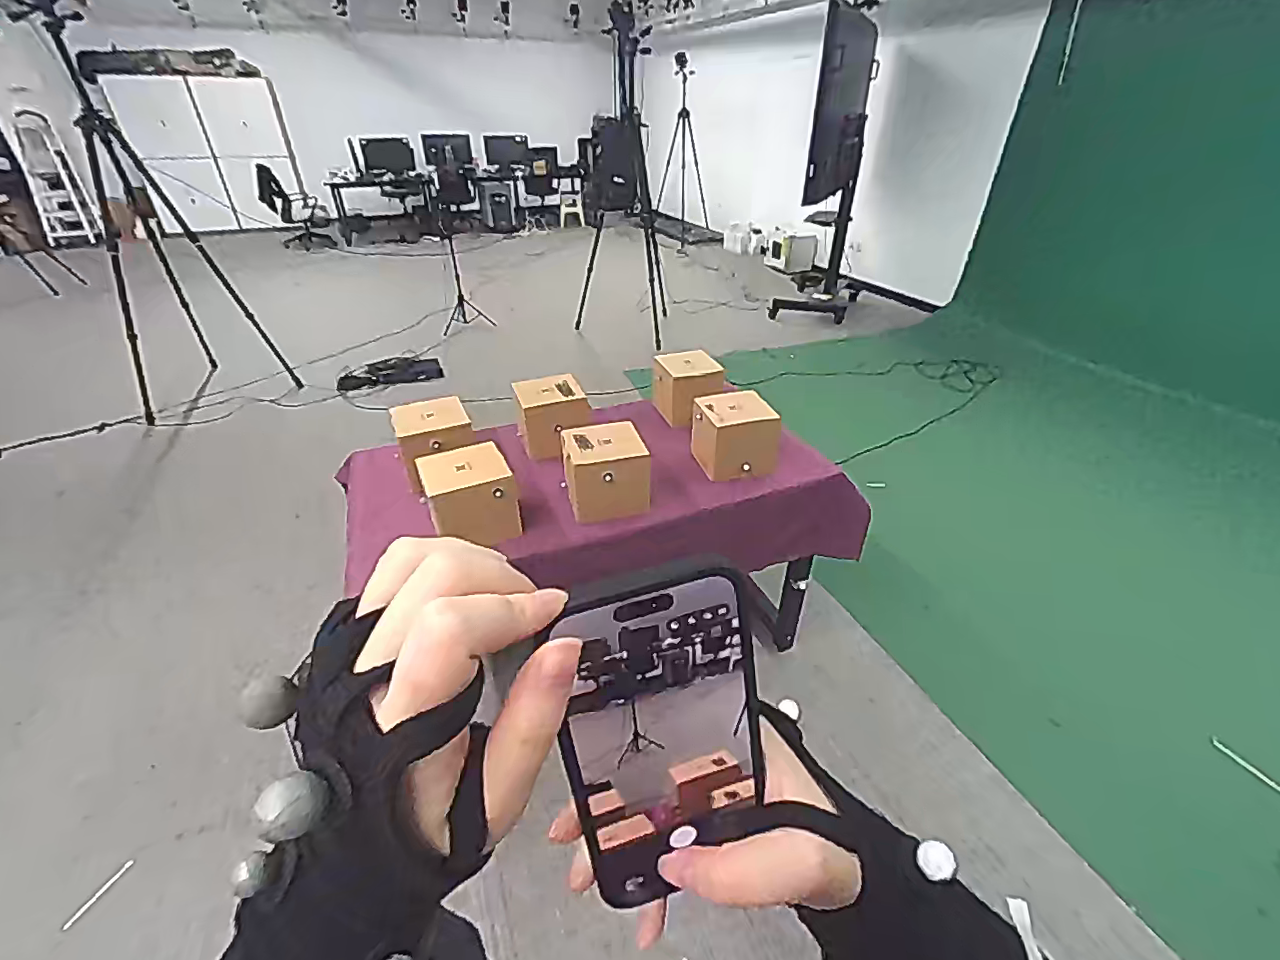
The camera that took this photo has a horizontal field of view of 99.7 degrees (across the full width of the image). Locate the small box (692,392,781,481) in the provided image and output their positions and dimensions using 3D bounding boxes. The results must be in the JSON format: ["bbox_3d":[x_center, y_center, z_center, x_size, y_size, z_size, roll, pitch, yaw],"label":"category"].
[{"bbox_3d":[0.248,-0.117,1.434,0.179,0.176,0.168,-9,35,-13],"label":"small box"}]

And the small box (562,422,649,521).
[{"bbox_3d":[-0.081,-0.019,1.293,0.179,0.176,0.168,-9,35,-14],"label":"small box"}]

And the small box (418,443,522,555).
[{"bbox_3d":[-0.376,0.042,1.207,0.179,0.176,0.168,-16,37,-24],"label":"small box"}]

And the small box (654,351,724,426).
[{"bbox_3d":[0.144,-0.285,1.678,0.168,0.176,0.179,-11,37,-15],"label":"small box"}]
